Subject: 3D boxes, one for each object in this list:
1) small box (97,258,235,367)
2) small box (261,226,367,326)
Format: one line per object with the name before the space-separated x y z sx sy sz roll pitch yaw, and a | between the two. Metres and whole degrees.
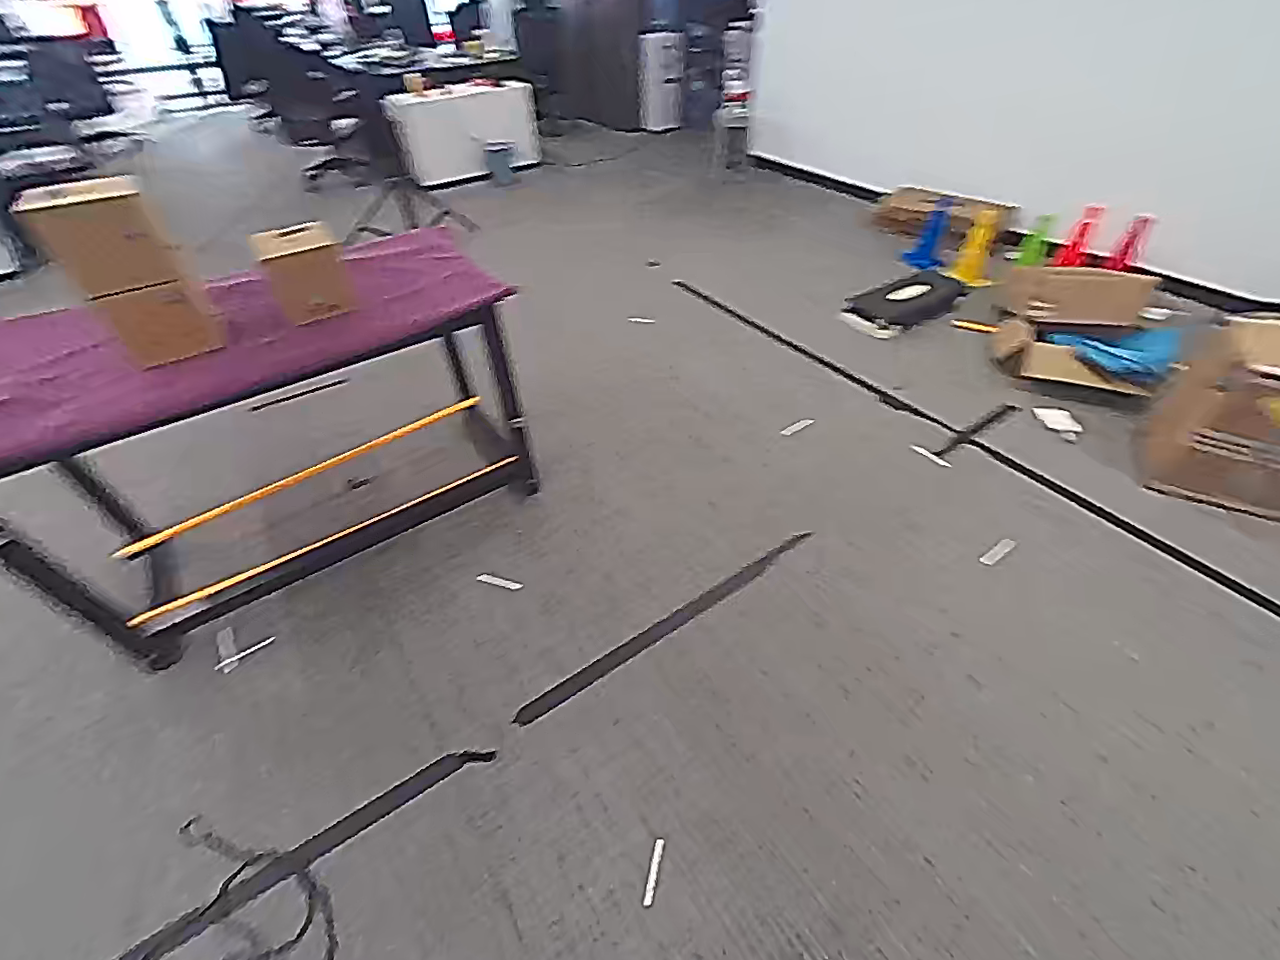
small box | -1.071 -0.381 1.232 0.179 0.176 0.168 -26 49 -23
small box | -0.813 -0.512 1.355 0.168 0.176 0.179 -25 49 -21
